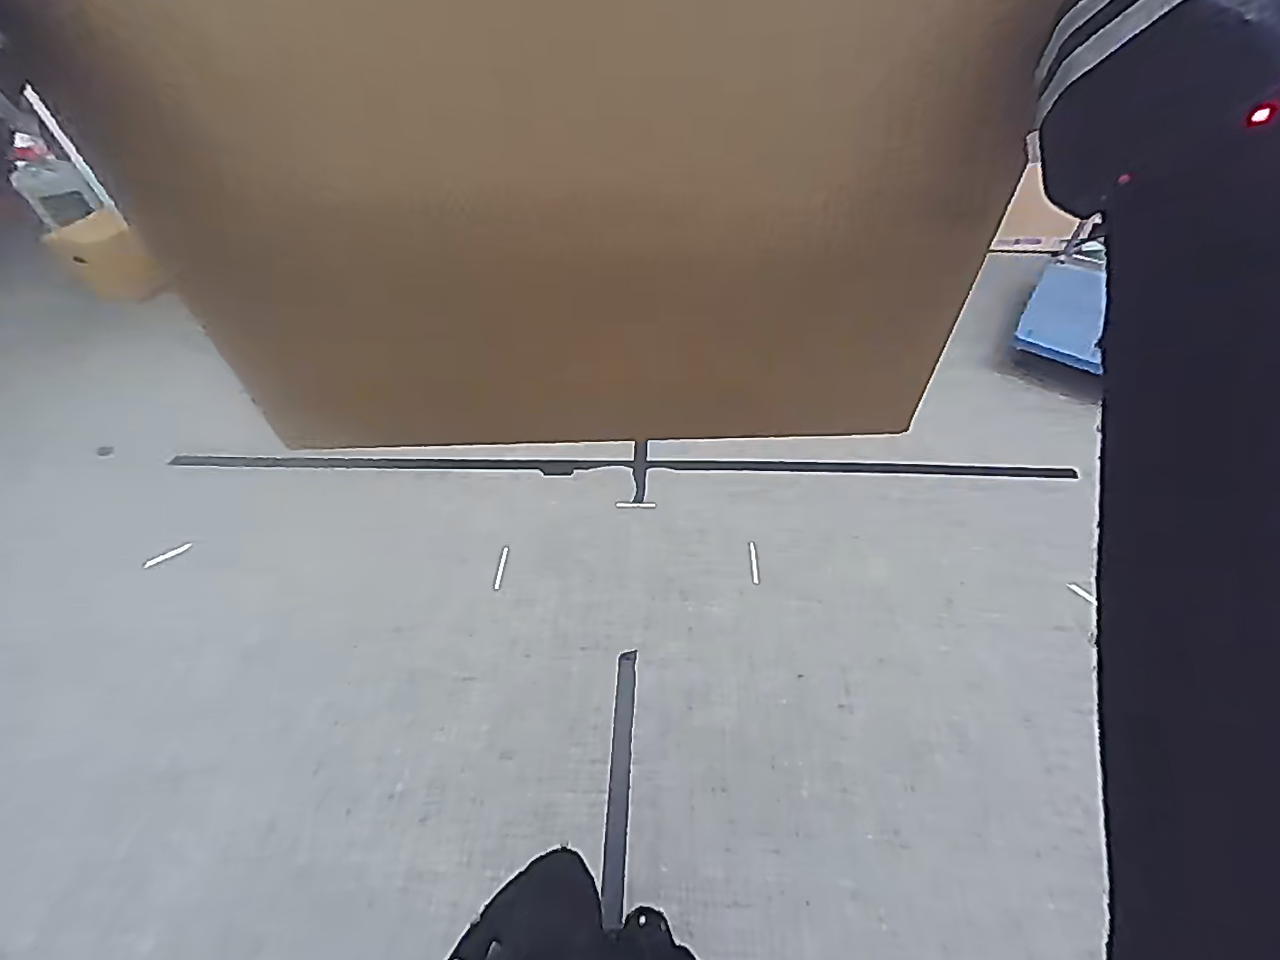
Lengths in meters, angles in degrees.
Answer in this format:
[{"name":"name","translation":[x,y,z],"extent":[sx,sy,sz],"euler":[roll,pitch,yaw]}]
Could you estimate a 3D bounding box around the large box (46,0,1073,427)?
[{"name":"large box","translation":[-0.032,-0.249,0.350],"extent":[0.408,0.320,0.320],"euler":[-1,47,0]}]
